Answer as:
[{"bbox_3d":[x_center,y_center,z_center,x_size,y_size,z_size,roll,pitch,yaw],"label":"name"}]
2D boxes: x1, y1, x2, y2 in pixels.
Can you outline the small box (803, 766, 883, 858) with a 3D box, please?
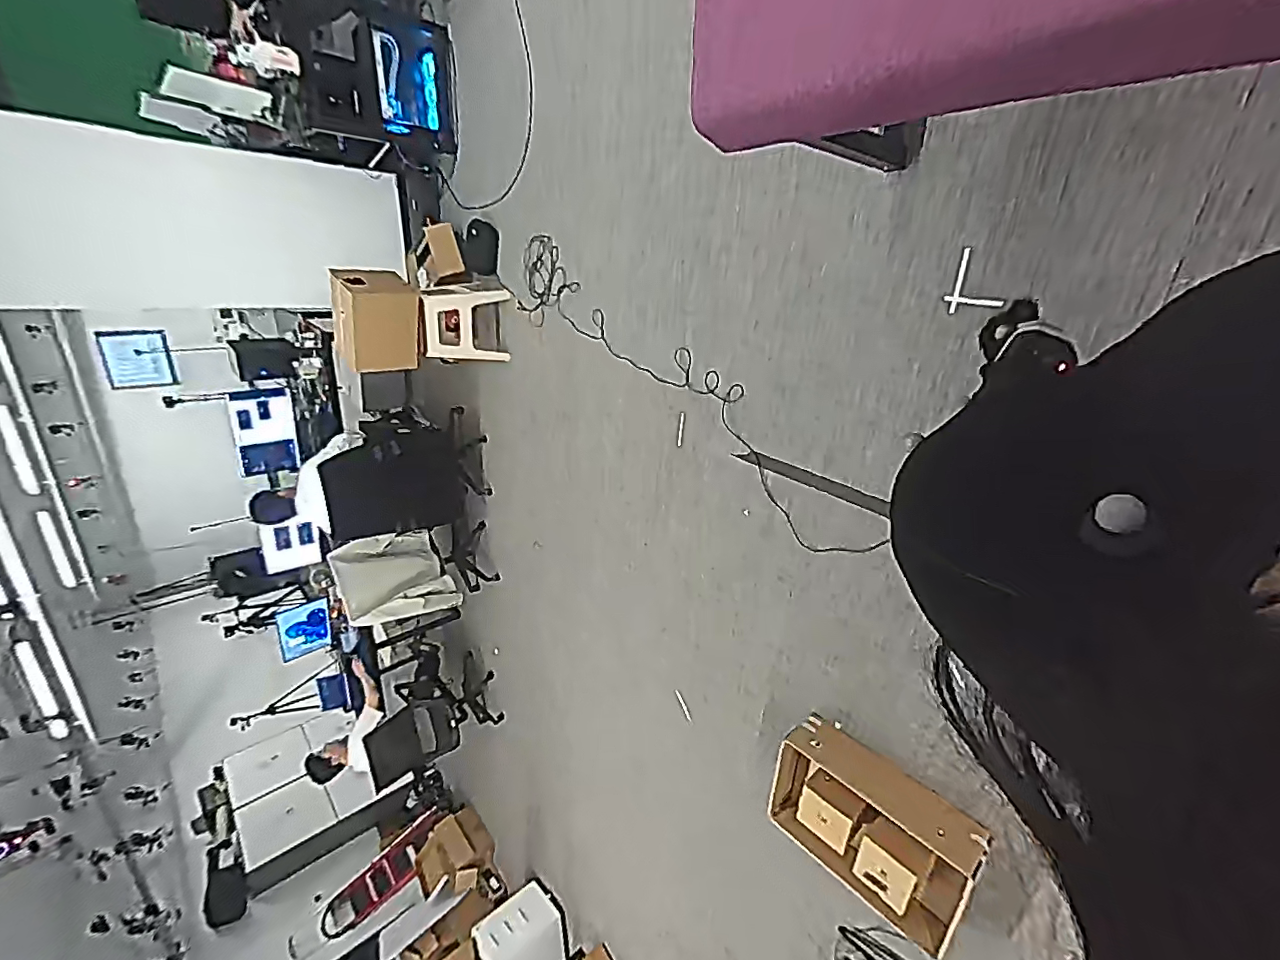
[{"bbox_3d":[0.681,1.099,1.815,0.179,0.176,0.168,25,120,41],"label":"small box"}]
